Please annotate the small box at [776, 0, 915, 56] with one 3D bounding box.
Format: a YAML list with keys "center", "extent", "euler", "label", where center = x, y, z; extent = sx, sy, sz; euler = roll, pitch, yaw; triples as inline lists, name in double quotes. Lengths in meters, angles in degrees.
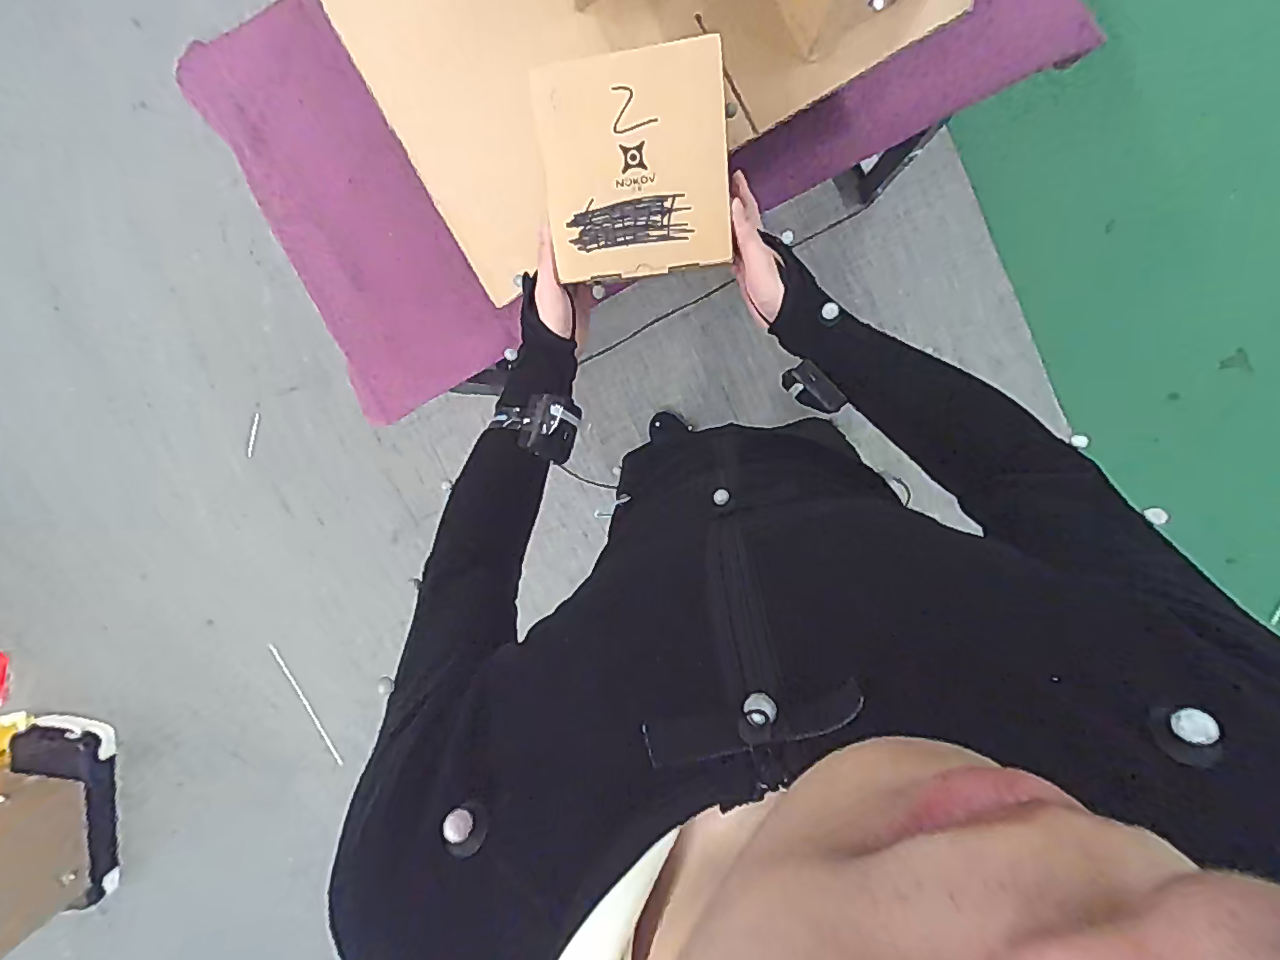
- center: [0.224, -0.599, 0.549]
  extent: [0.168, 0.176, 0.179]
  euler: [-29, 95, 4]
  label: "small box"
